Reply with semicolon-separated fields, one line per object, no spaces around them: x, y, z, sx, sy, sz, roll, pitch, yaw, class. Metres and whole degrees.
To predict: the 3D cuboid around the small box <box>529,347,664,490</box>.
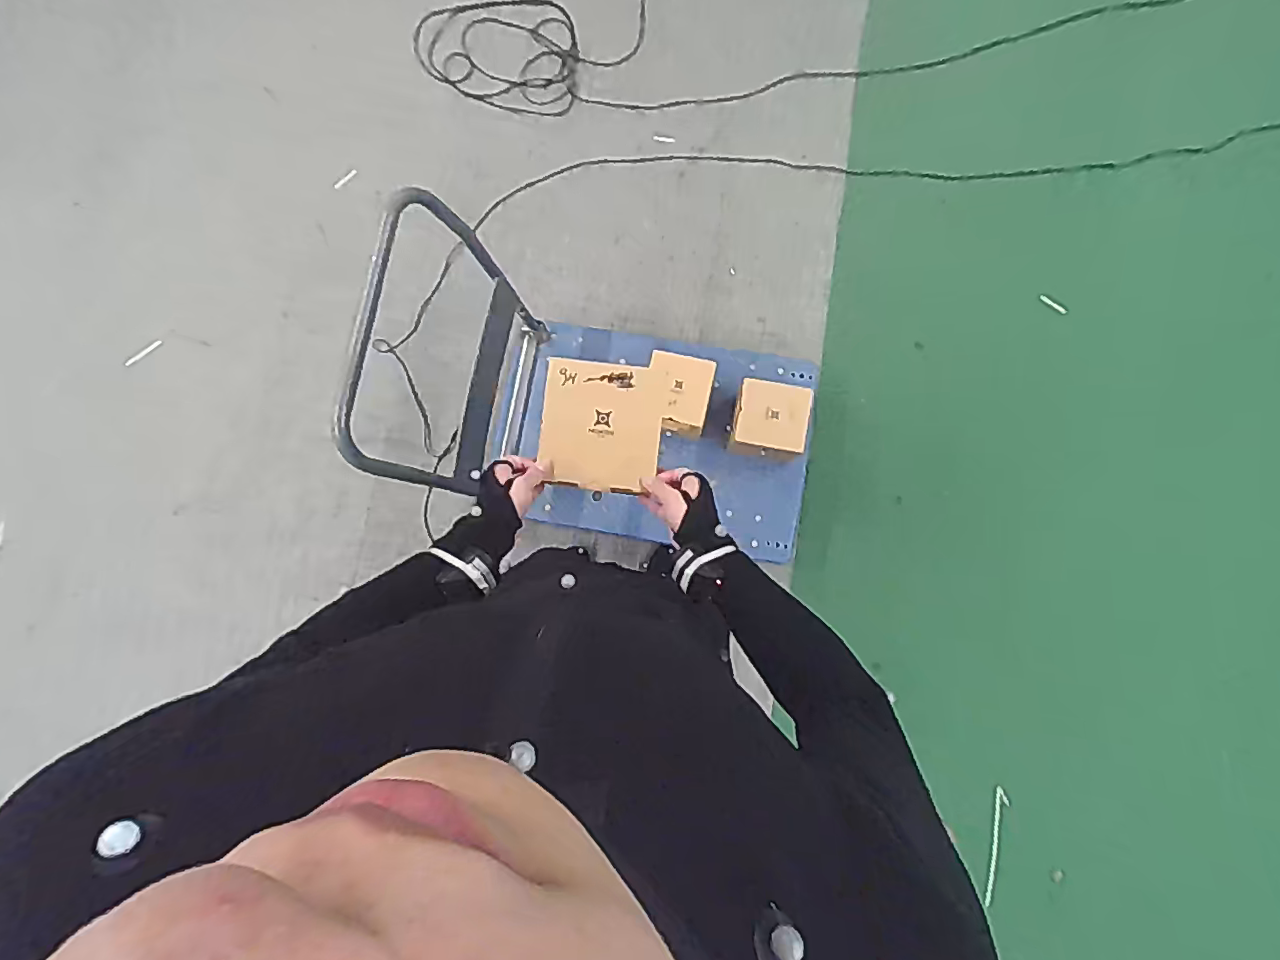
-0.060;-0.082;0.813;0.168;0.176;0.179;8;88;-1;small box

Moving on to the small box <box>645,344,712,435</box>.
0.084;-0.233;1.429;0.168;0.176;0.179;13;84;4;small box

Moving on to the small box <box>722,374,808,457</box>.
0.319;-0.161;1.413;0.179;0.176;0.168;11;85;4;small box
